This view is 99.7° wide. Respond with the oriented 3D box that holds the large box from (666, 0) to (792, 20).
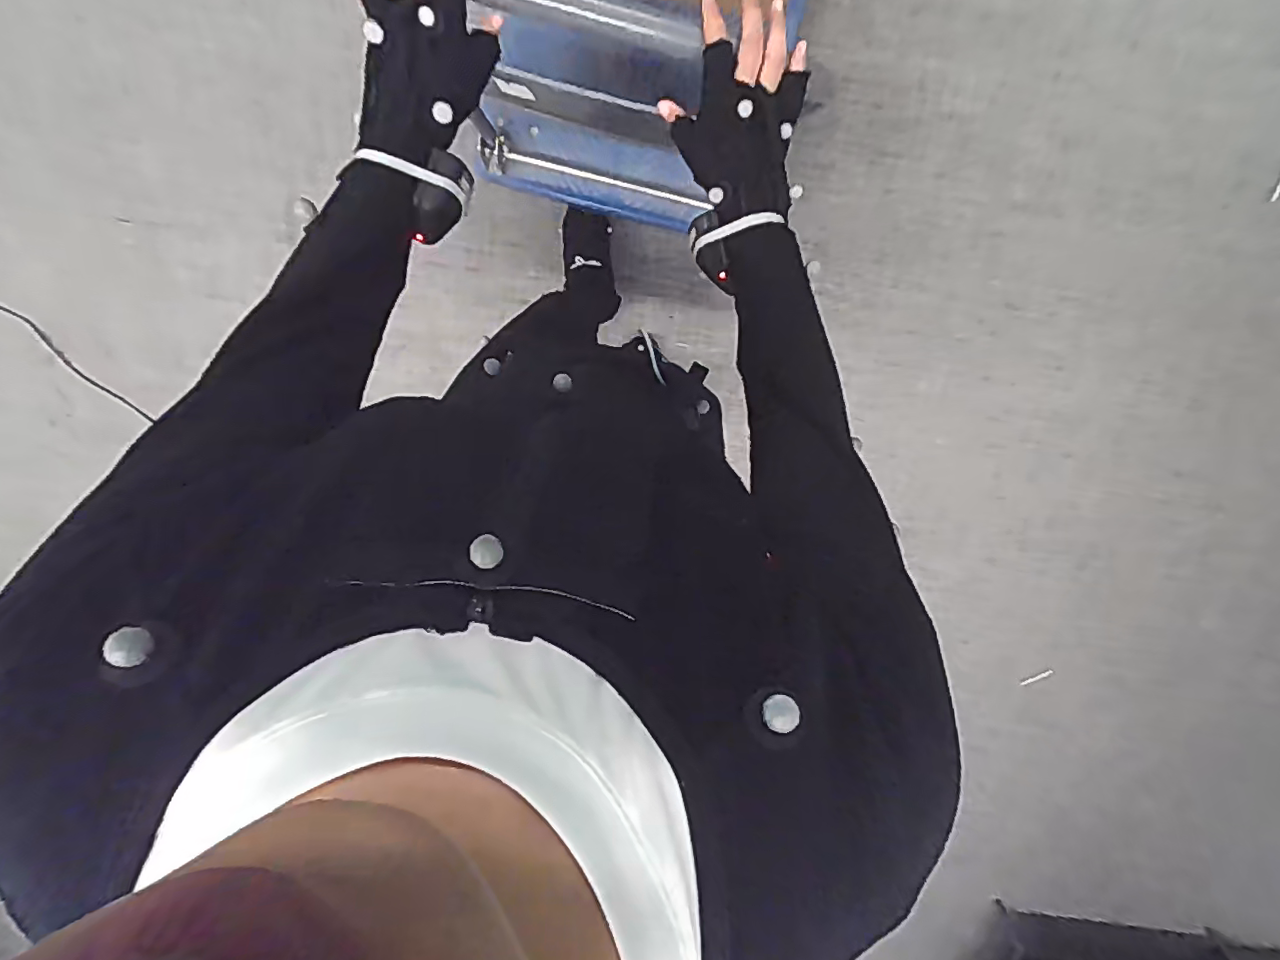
[{"bbox_3d":[0.094,-0.990,0.831,0.408,0.320,0.320,11,108,-2],"label":"large box"}]
